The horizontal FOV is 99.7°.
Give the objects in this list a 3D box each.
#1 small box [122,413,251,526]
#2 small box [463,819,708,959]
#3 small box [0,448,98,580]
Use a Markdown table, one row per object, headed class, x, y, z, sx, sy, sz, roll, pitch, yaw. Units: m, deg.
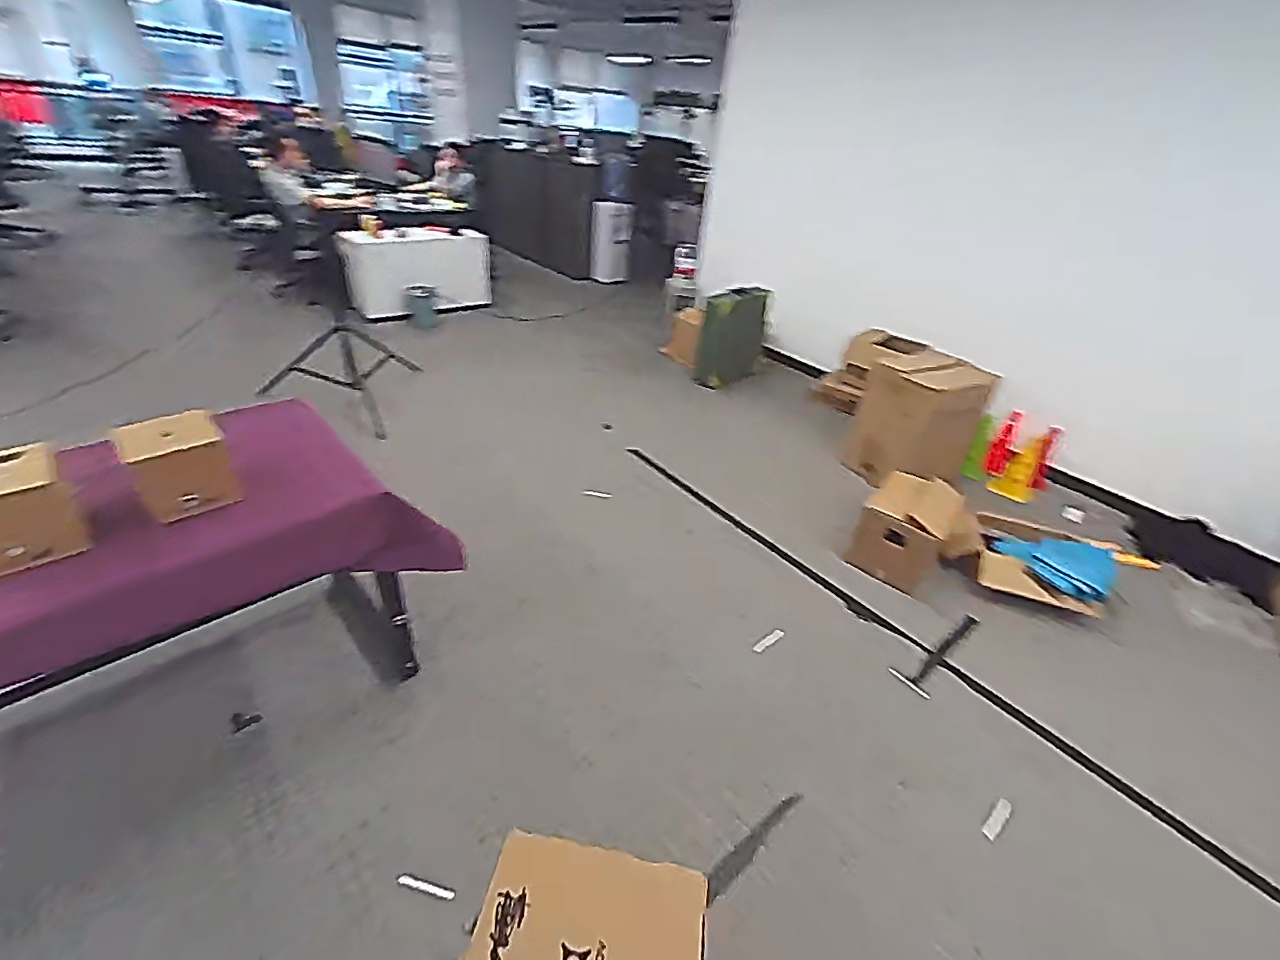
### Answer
| class | x | y | z | sx | sy | sz | roll | pitch | yaw |
| --- | --- | --- | --- | --- | --- | --- | --- | --- | --- |
| small box | -1.019 | -0.025 | 1.221 | 0.168 | 0.176 | 0.179 | -26 | 46 | -38 |
| small box | -0.049 | 0.416 | 0.433 | 0.179 | 0.176 | 0.168 | 10 | 29 | 3 |
| small box | -1.203 | 0.064 | 1.051 | 0.168 | 0.176 | 0.179 | -24 | 44 | -37 |
